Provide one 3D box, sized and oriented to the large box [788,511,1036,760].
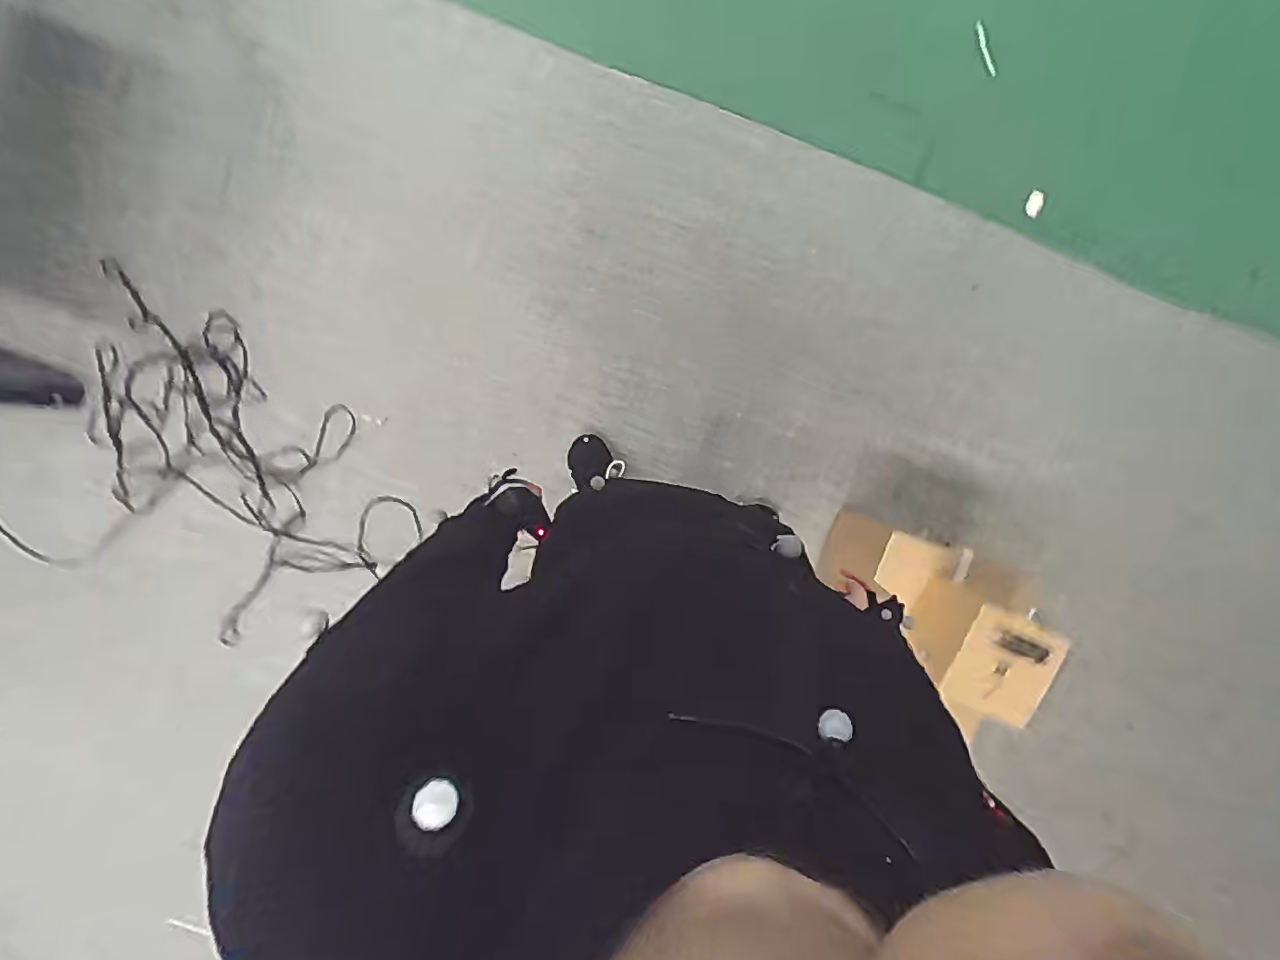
[{"bbox_3d":[0.578,0.321,1.225,0.320,0.320,0.408,19,96,0],"label":"large box"}]
